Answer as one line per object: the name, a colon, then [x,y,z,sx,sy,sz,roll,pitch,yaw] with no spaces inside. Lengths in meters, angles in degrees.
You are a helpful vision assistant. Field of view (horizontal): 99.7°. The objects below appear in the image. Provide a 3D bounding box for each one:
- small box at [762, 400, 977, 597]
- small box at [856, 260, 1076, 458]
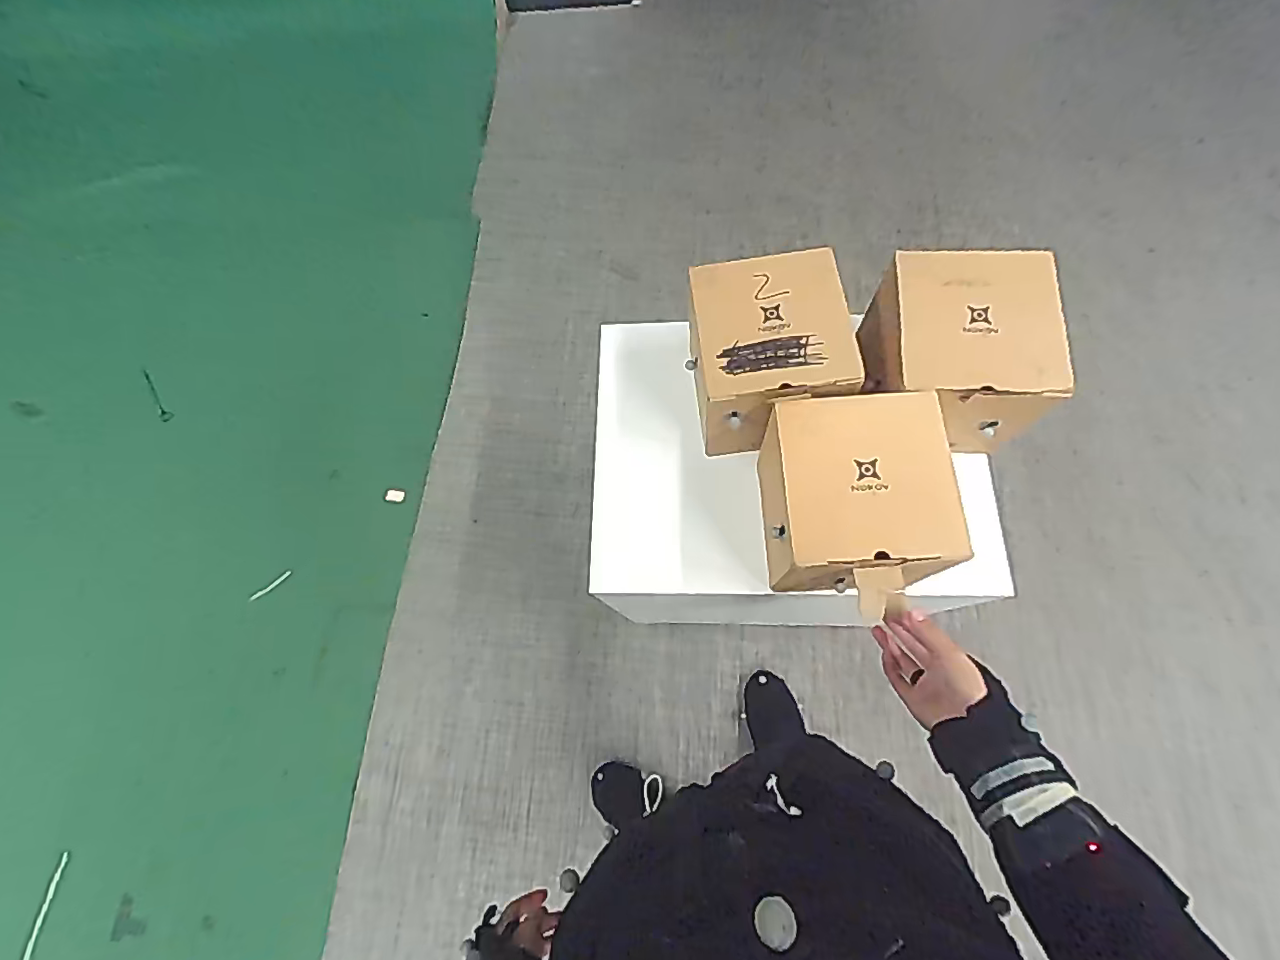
small box: [0.234,0.029,0.604,0.168,0.176,0.179,-3,70,5]
small box: [0.367,-0.135,0.646,0.168,0.176,0.179,3,71,6]
